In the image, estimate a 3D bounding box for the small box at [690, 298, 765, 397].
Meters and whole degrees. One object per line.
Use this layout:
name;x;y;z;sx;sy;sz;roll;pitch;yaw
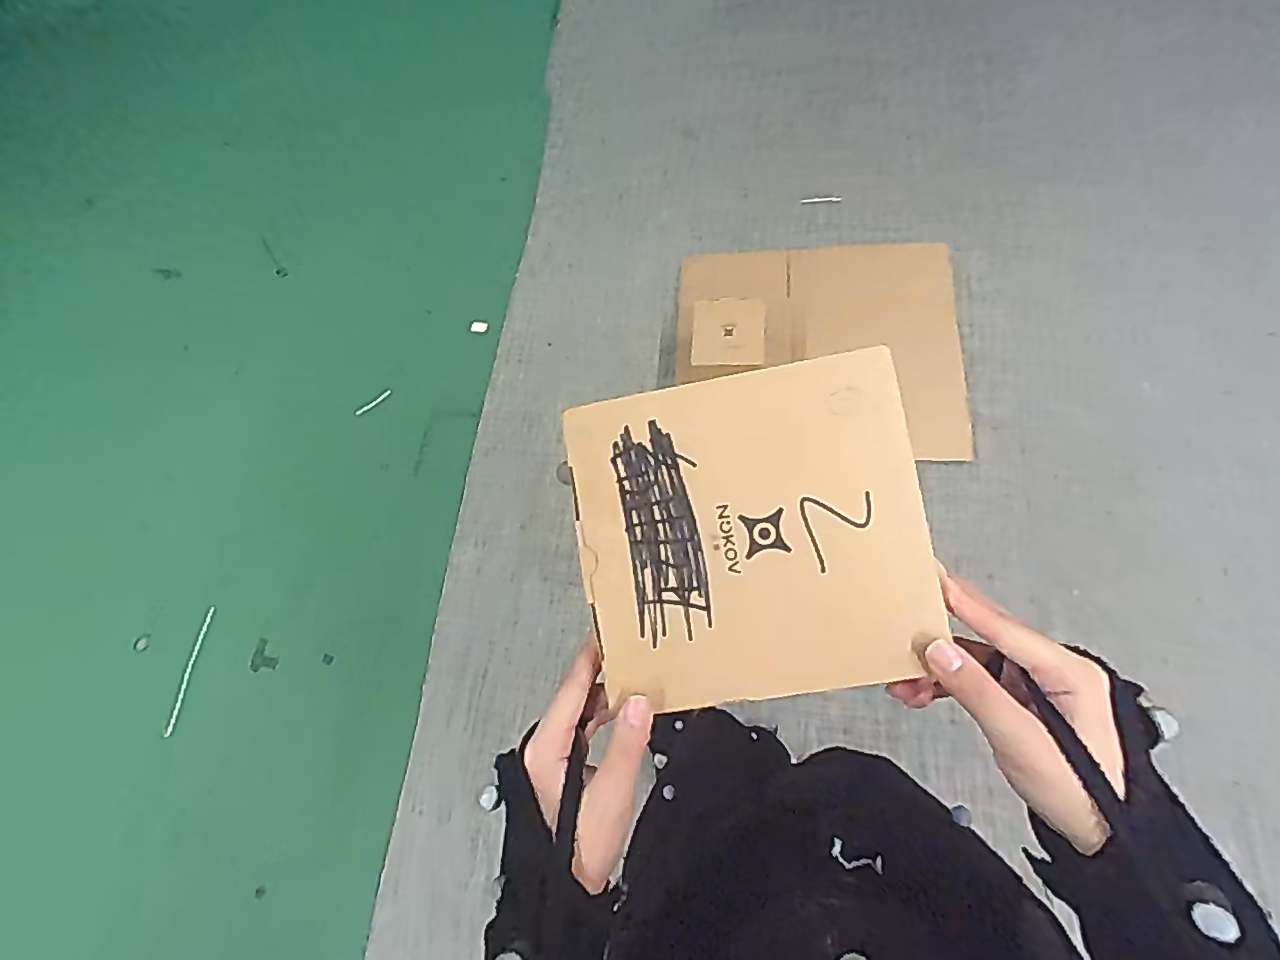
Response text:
small box;0.214;-0.318;1.316;0.168;0.176;0.179;1;73;11
